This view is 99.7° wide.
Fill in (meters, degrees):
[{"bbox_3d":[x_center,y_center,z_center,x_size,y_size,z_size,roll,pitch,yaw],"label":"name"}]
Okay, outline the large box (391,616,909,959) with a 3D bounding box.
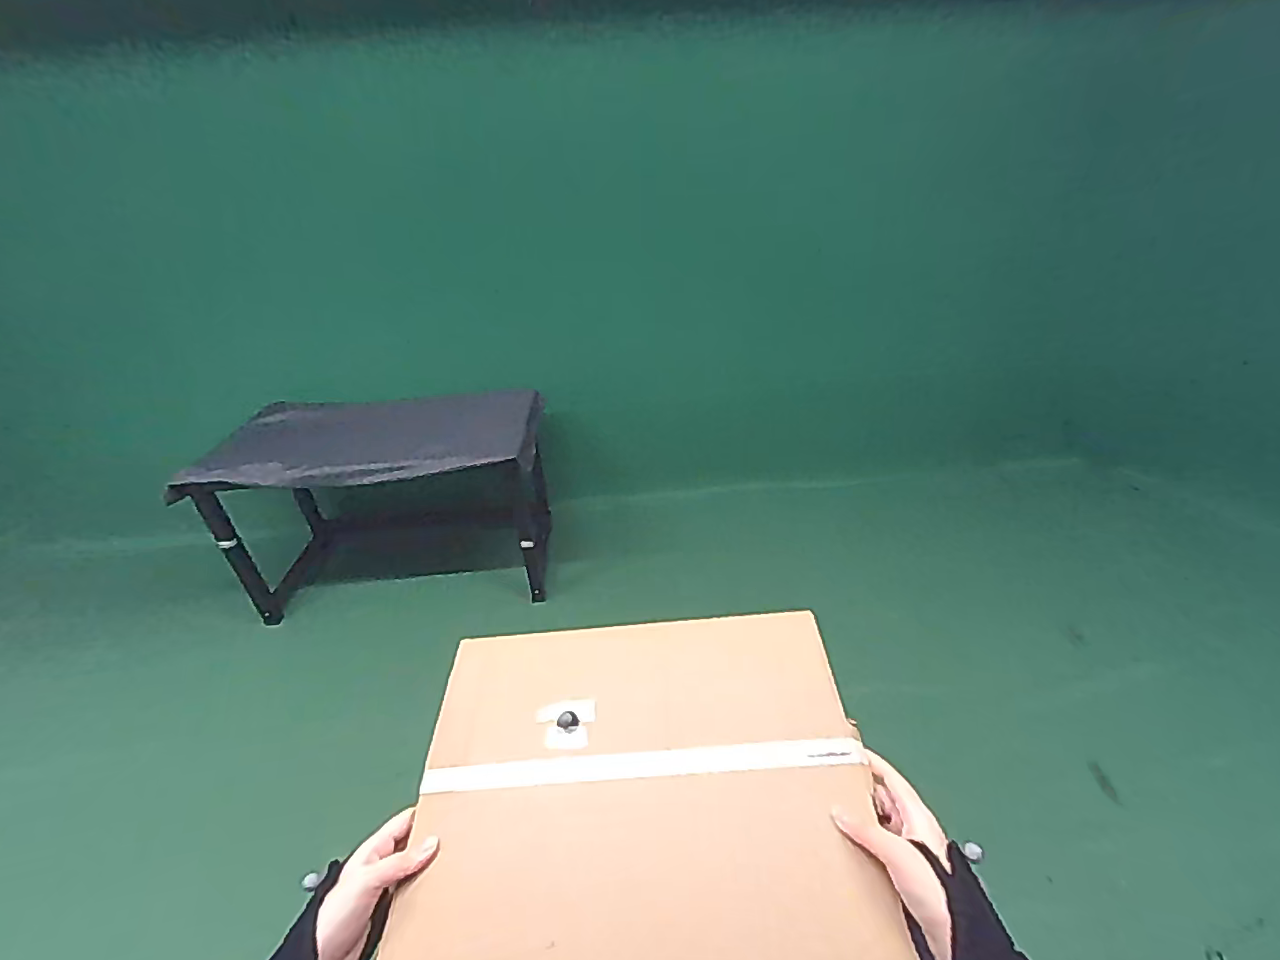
[{"bbox_3d":[0.016,0.389,0.605,0.408,0.320,0.320,-7,40,5],"label":"large box"}]
